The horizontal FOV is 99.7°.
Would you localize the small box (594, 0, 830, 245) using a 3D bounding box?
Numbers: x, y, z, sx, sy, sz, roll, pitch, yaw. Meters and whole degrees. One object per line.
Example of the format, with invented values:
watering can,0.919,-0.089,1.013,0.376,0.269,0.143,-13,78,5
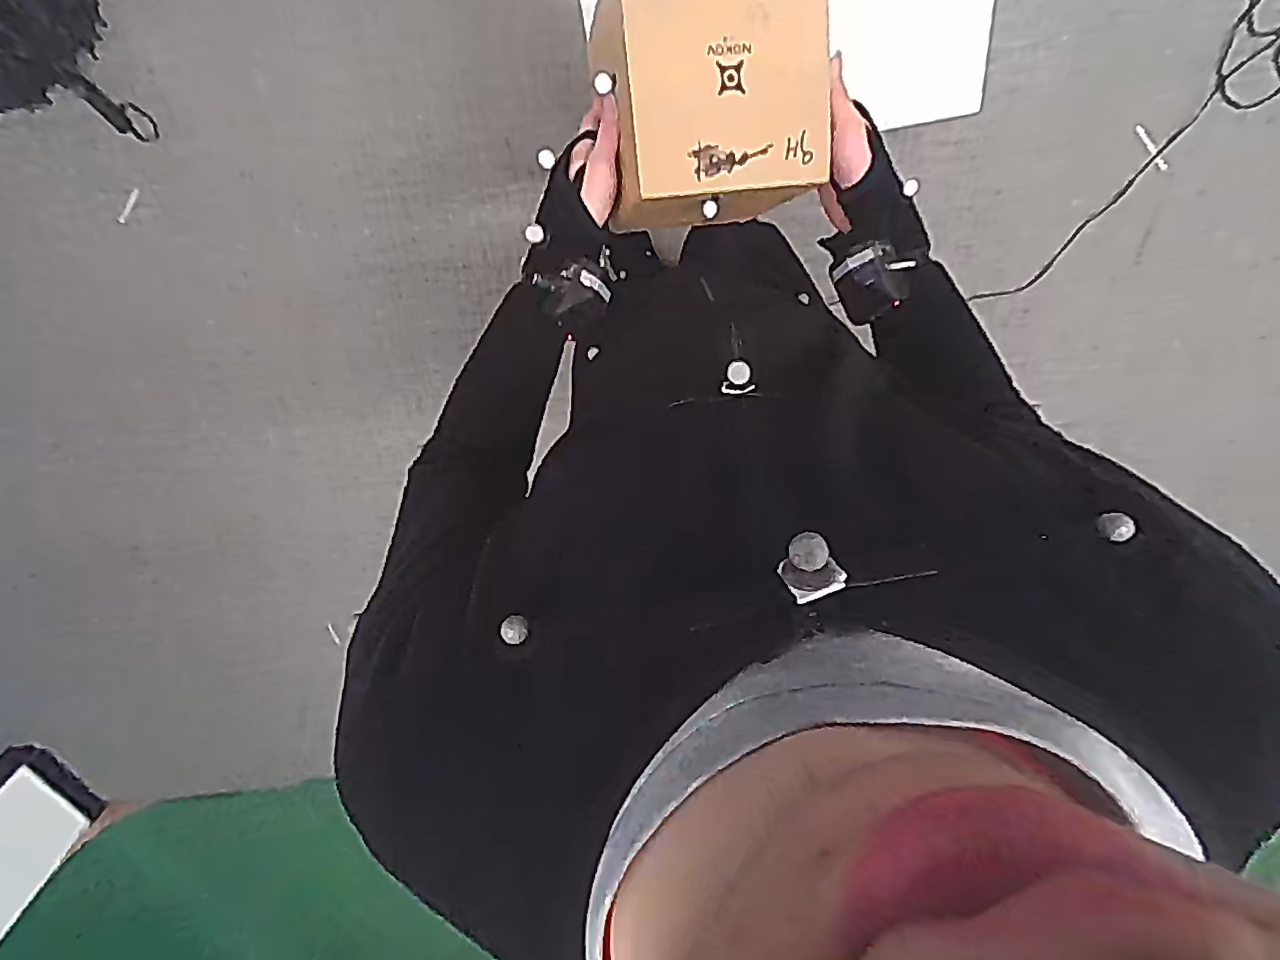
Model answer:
small box,0.055,-0.333,0.498,0.168,0.176,0.179,-10,104,-7
